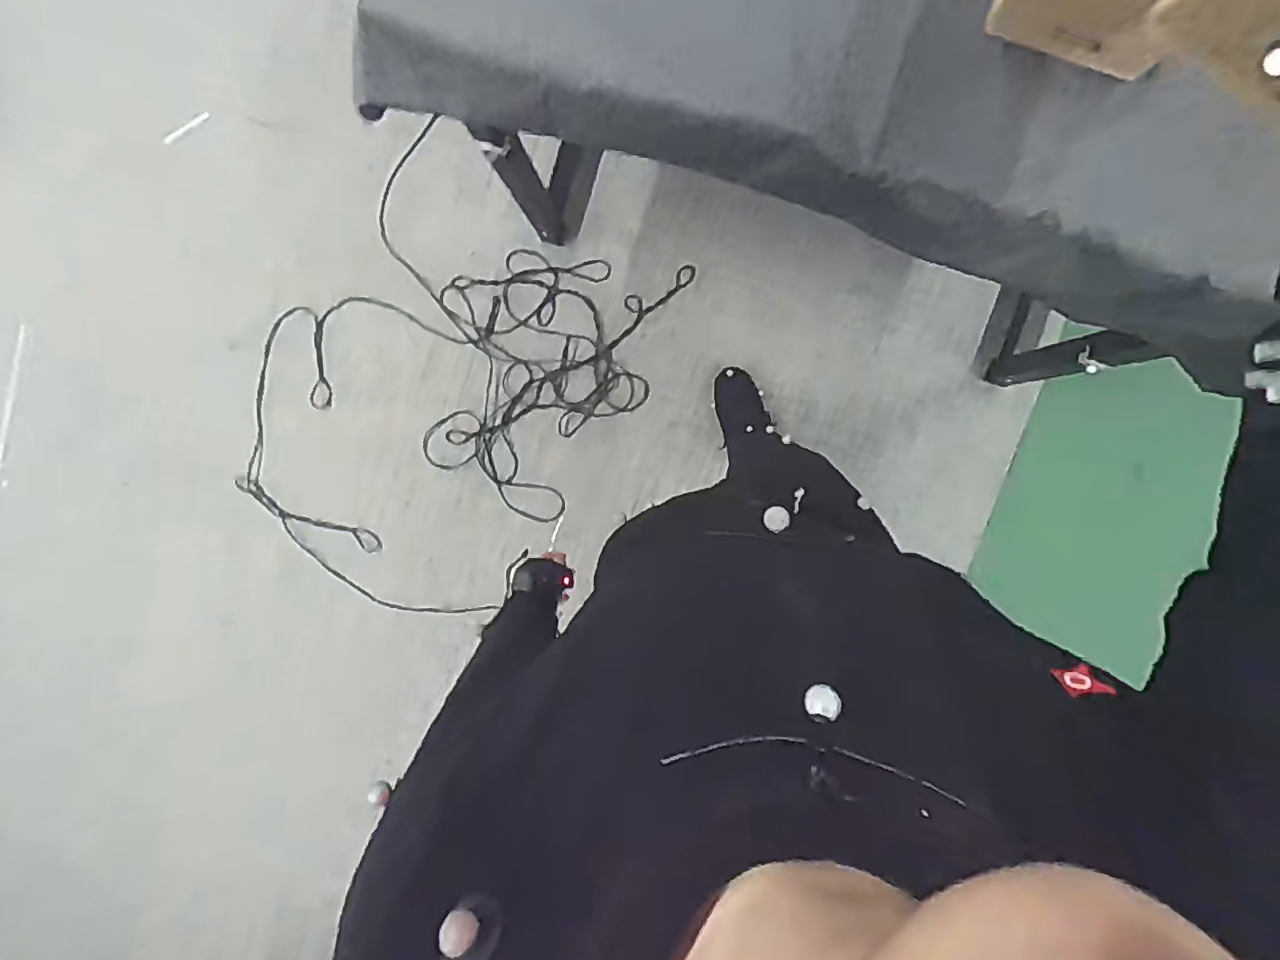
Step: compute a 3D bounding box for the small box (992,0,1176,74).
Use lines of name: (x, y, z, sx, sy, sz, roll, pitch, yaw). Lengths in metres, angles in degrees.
small box: (0.457, -0.516, 0.478, 0.168, 0.176, 0.179, 21, 94, 1)

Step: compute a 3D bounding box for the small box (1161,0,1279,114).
small box: (0.453, -0.328, 0.279, 0.168, 0.176, 0.179, 31, 112, -2)
